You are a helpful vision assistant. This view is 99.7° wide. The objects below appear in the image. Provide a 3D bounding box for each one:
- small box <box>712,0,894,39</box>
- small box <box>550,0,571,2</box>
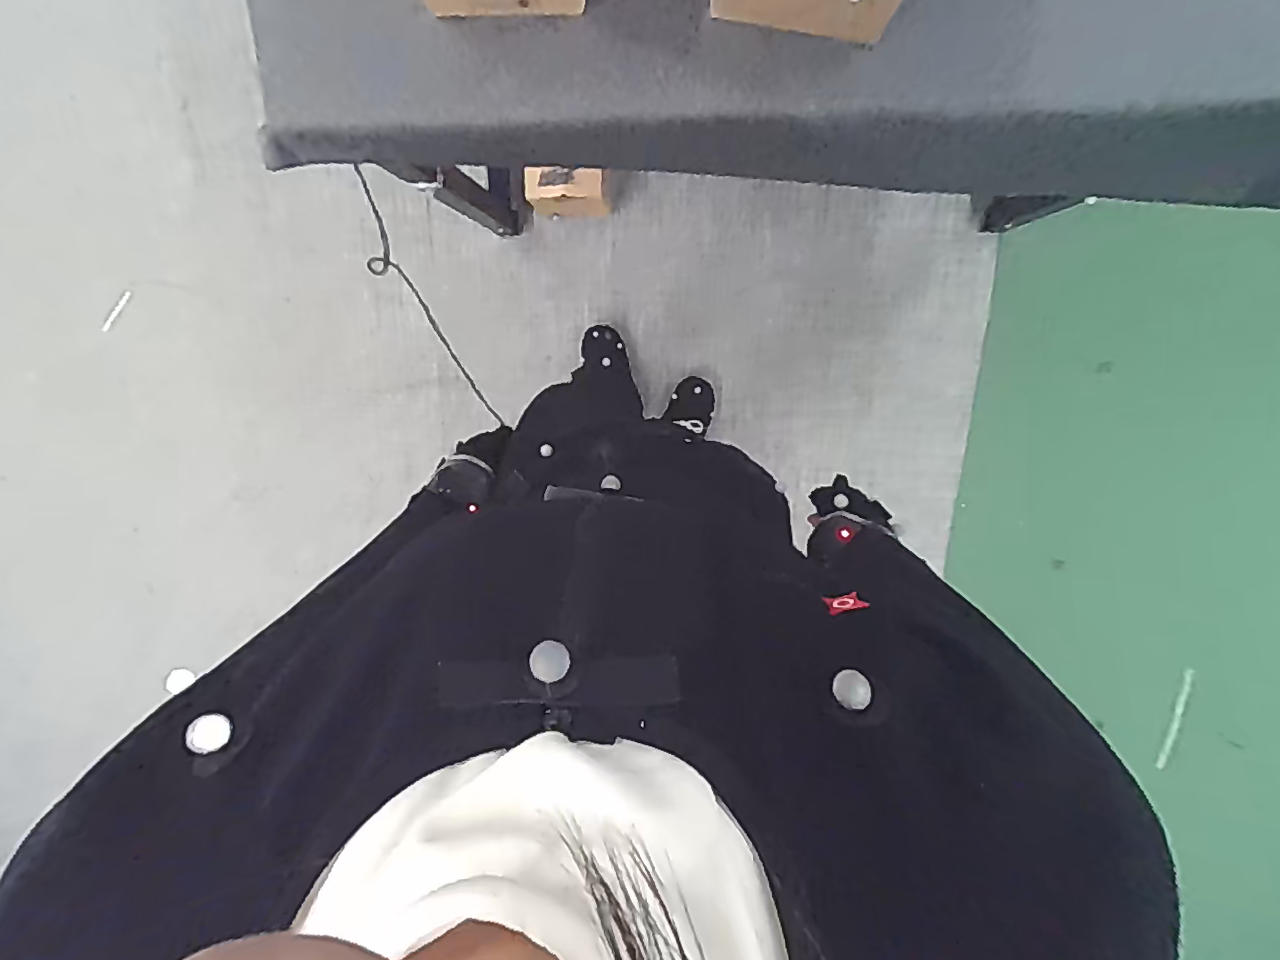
[{"bbox_3d":[0.166,-0.524,0.464,0.179,0.176,0.168,12,104,2],"label":"small box"},{"bbox_3d":[-0.140,-0.566,0.474,0.168,0.176,0.179,3,104,3],"label":"small box"}]
